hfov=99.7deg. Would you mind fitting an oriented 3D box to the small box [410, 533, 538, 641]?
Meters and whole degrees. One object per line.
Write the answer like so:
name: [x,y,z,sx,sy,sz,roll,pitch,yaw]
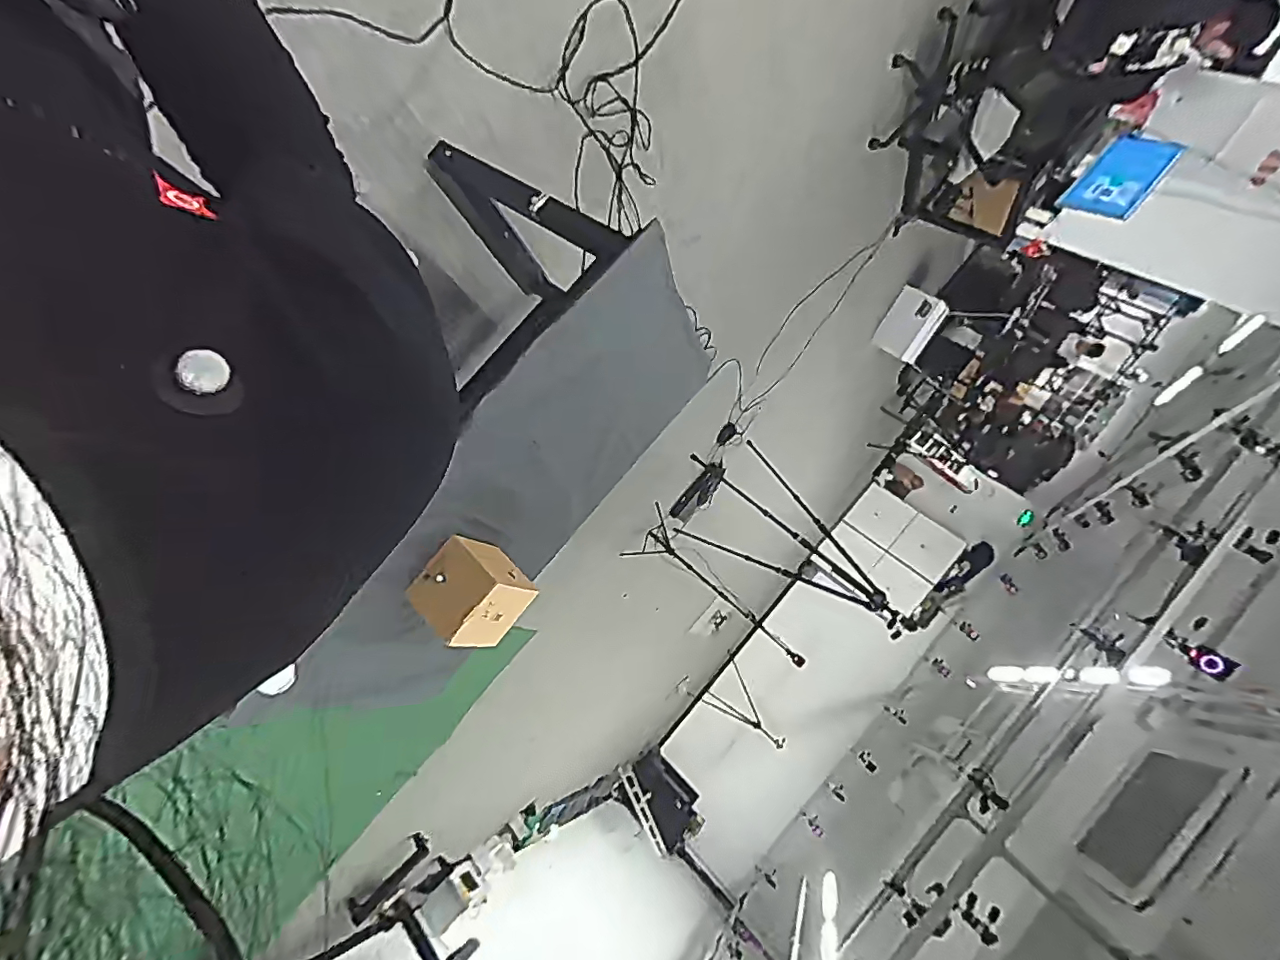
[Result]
small box: [-0.369,0.239,1.210,0.168,0.176,0.179,-51,154,-1]
